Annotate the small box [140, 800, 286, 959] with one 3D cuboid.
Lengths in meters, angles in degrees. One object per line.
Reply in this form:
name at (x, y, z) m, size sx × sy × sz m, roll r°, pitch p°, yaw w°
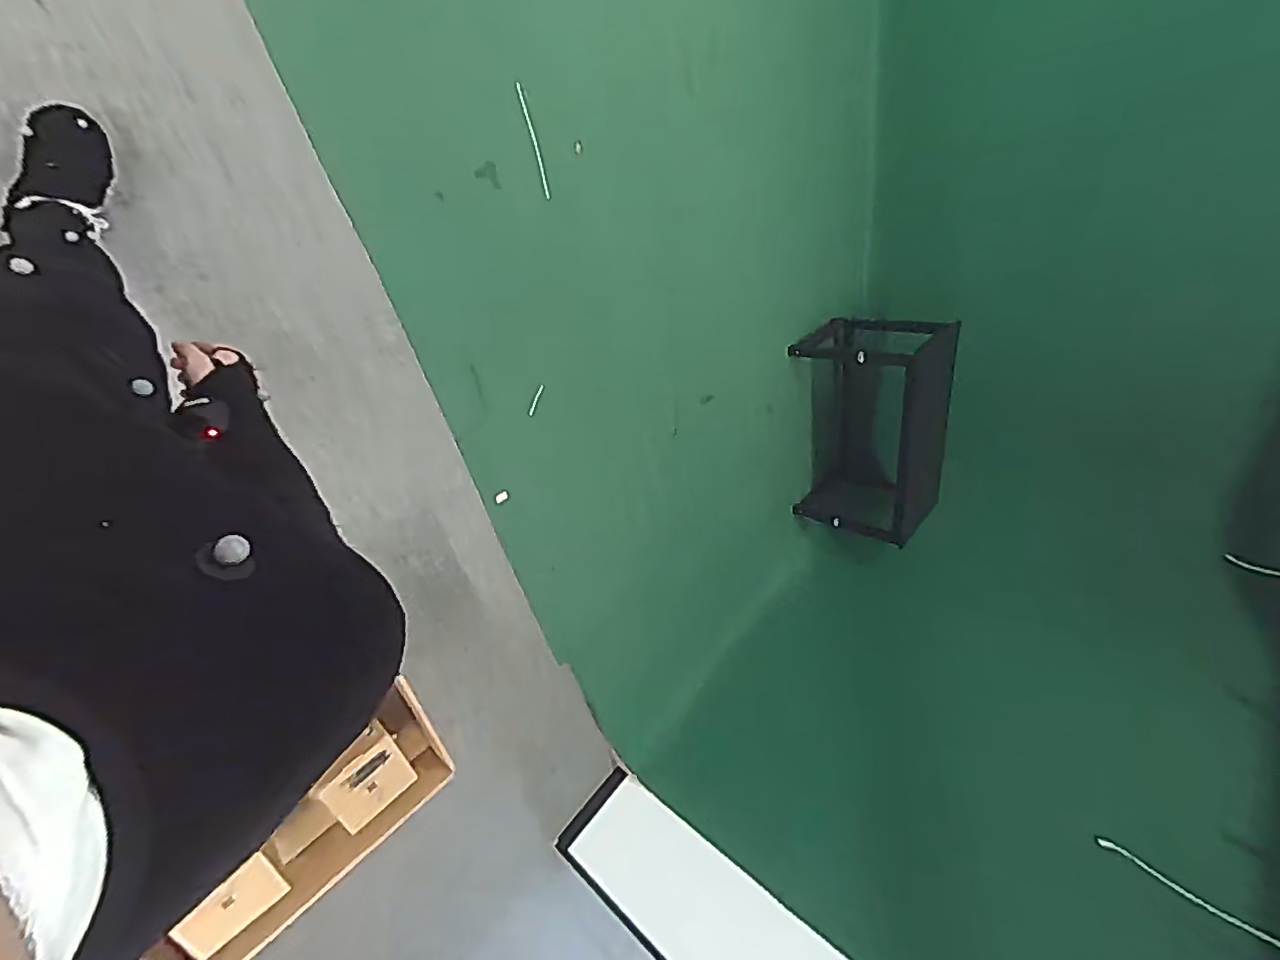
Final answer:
small box at (-0.854, 0.793, 1.085) m, size 0.168 × 0.176 × 0.179 m, roll -33°, pitch 126°, yaw -36°
